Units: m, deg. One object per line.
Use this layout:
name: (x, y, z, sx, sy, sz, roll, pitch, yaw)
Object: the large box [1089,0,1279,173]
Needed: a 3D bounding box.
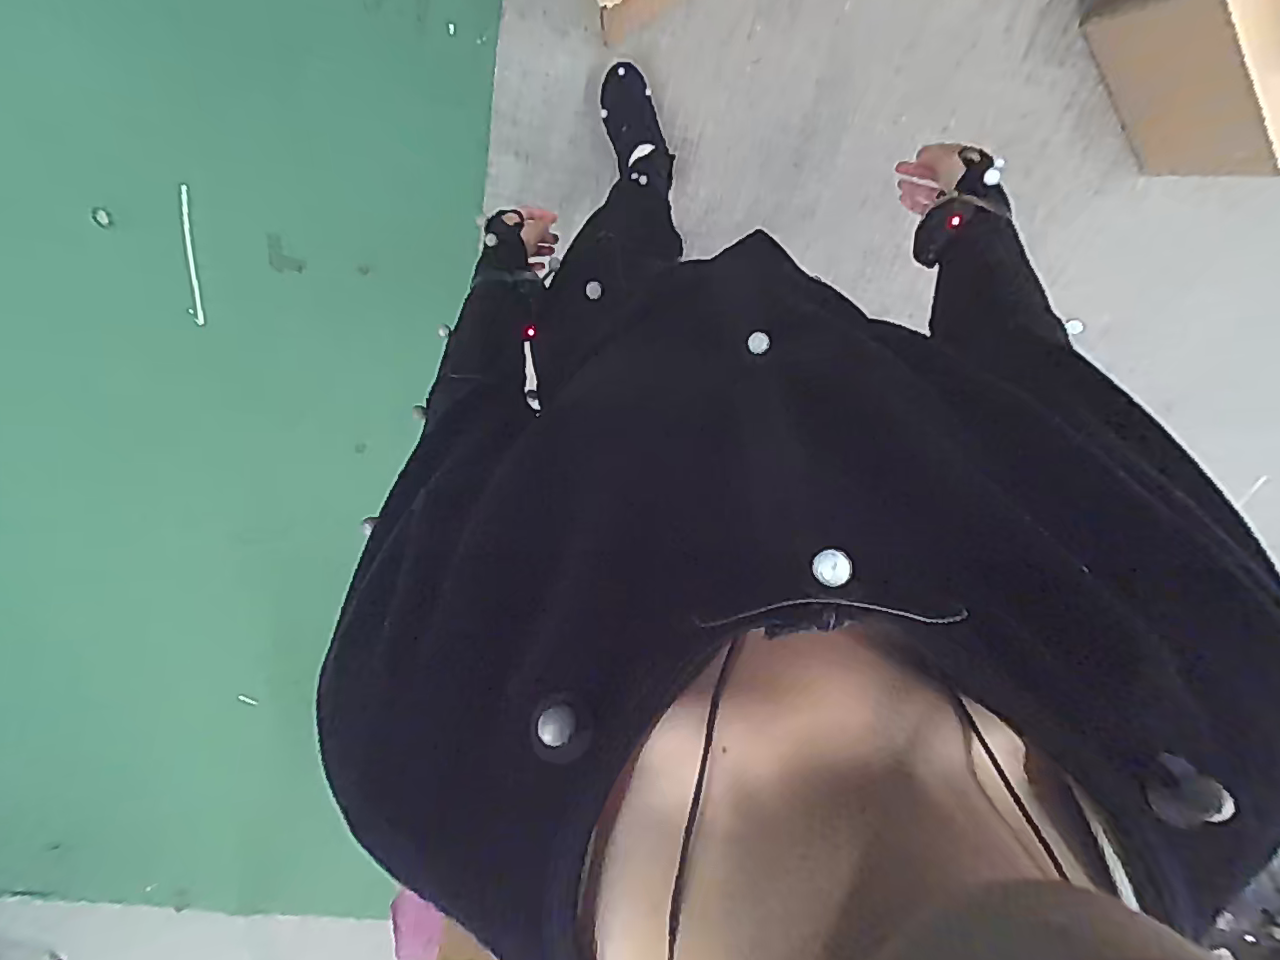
large box: (1.179, -0.859, 1.021, 0.408, 0.320, 0.320, 39, 112, -23)
